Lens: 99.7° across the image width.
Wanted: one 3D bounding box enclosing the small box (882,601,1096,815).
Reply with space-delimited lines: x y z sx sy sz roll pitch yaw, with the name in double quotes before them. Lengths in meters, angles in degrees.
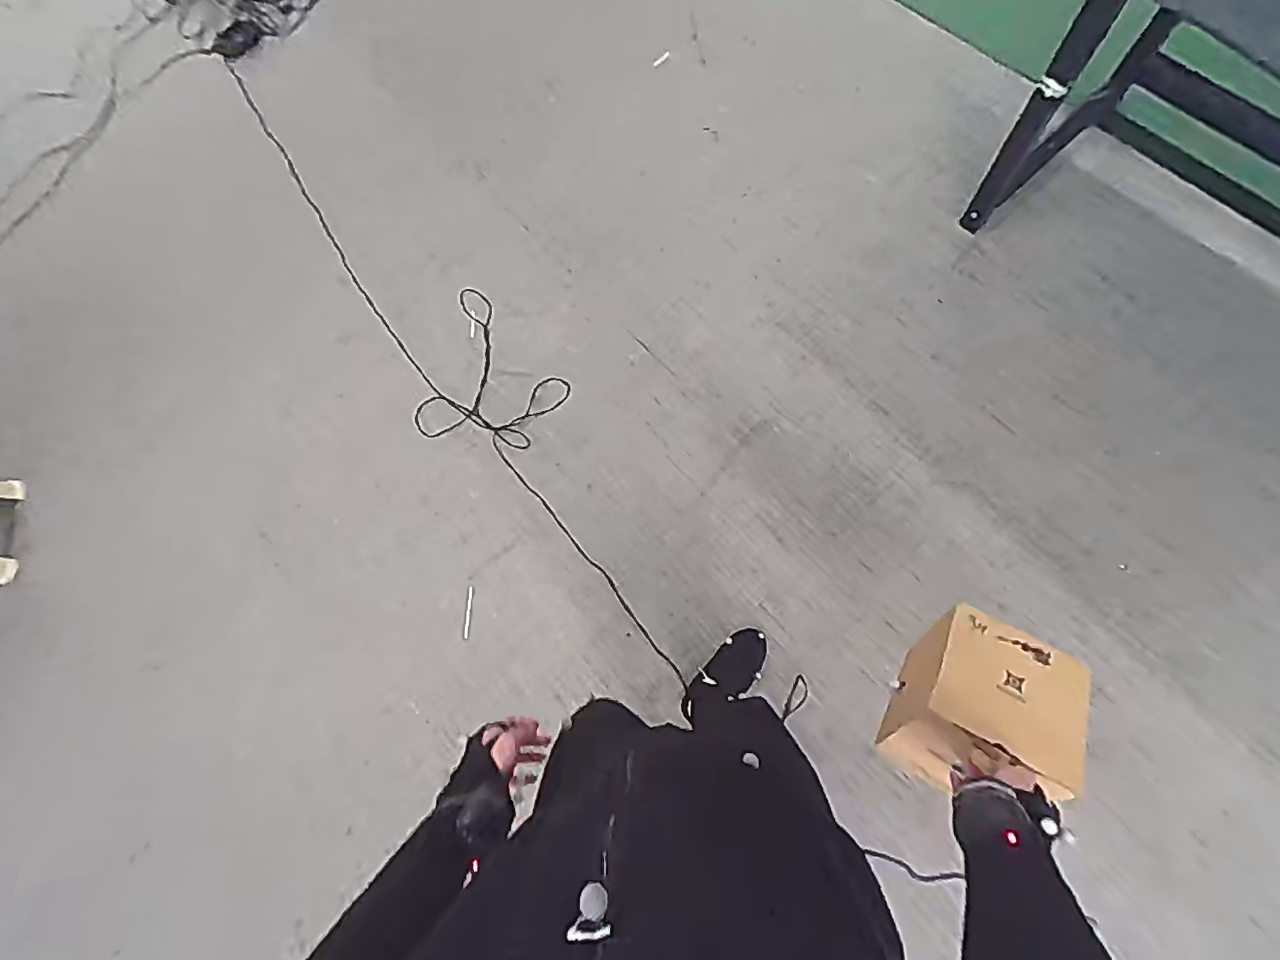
"small box" 0.444 0.302 0.711 0.168 0.176 0.179 30 54 20
